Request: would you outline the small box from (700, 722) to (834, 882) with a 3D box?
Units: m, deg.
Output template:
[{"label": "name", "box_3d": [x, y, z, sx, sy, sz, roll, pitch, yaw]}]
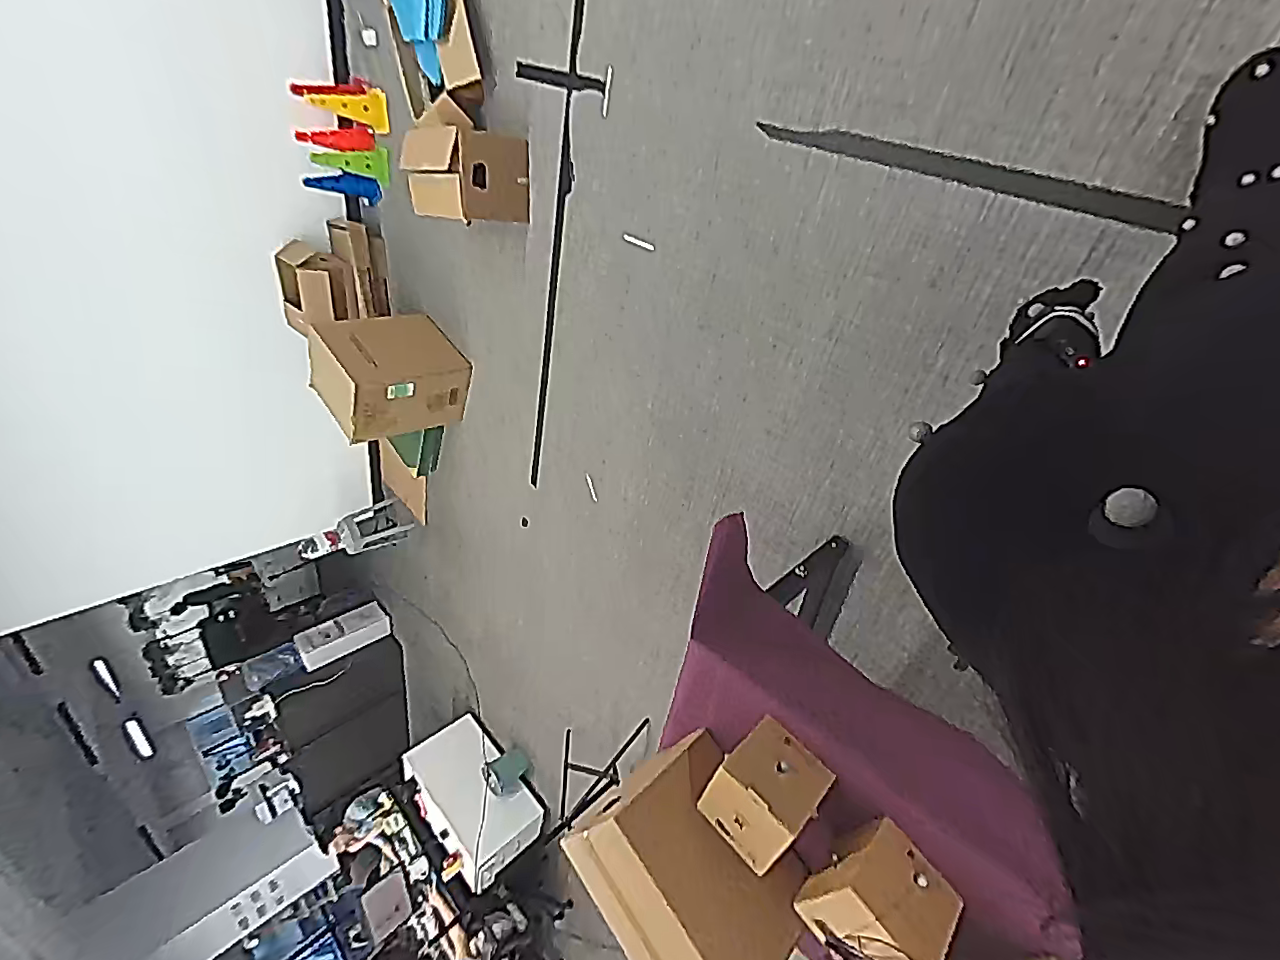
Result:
[{"label": "small box", "box_3d": [0.248, 0.613, 1.049, 0.168, 0.176, 0.179, 38, 130, 31]}]
